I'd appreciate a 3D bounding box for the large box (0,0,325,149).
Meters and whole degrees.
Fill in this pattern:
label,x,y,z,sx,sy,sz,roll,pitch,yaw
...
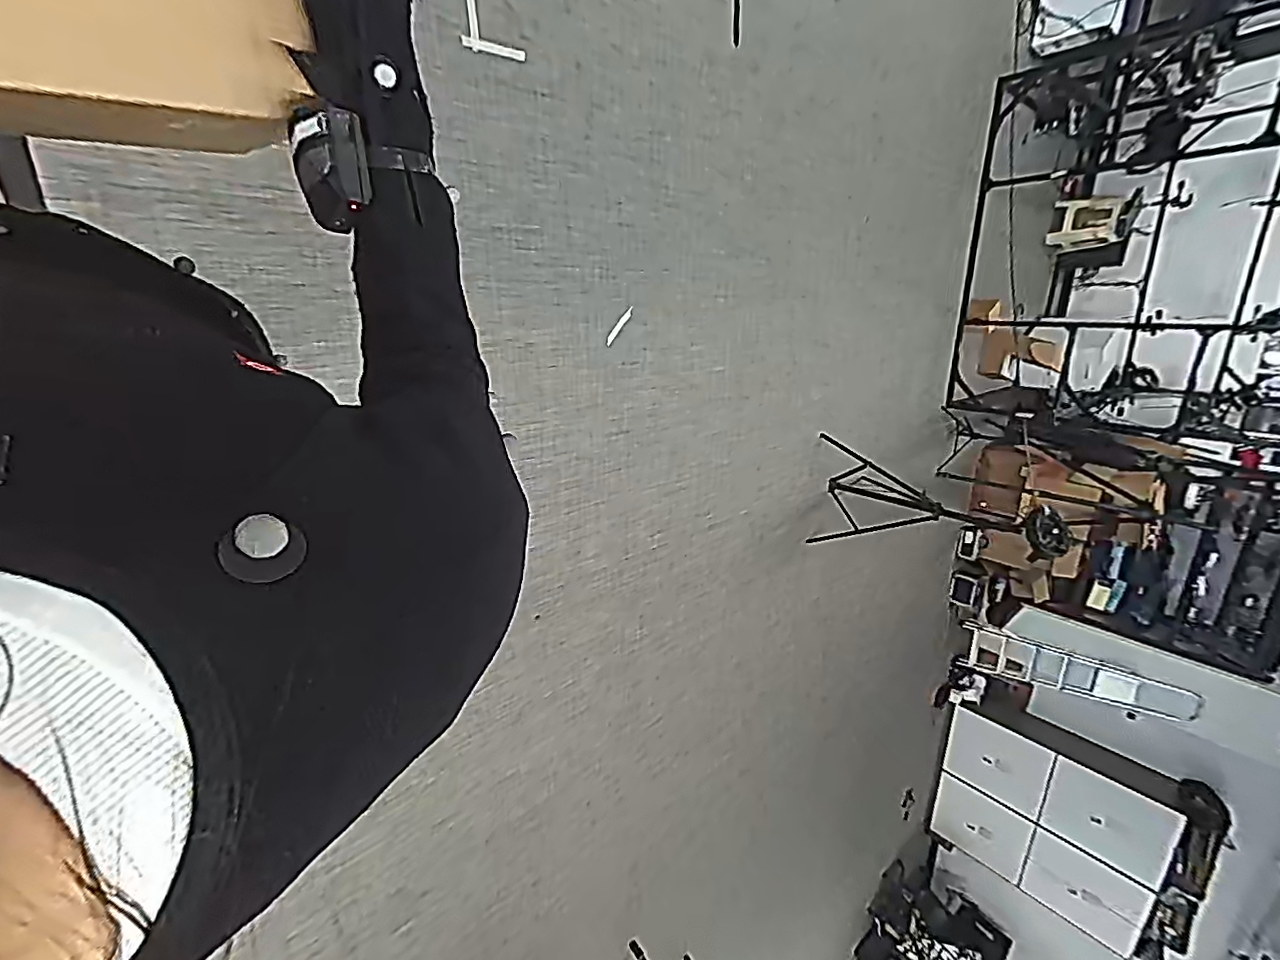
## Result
label,x,y,z,sx,sy,sz,roll,pitch,yaw
large box,-0.467,-0.384,0.294,0.408,0.320,0.320,-21,124,-39
